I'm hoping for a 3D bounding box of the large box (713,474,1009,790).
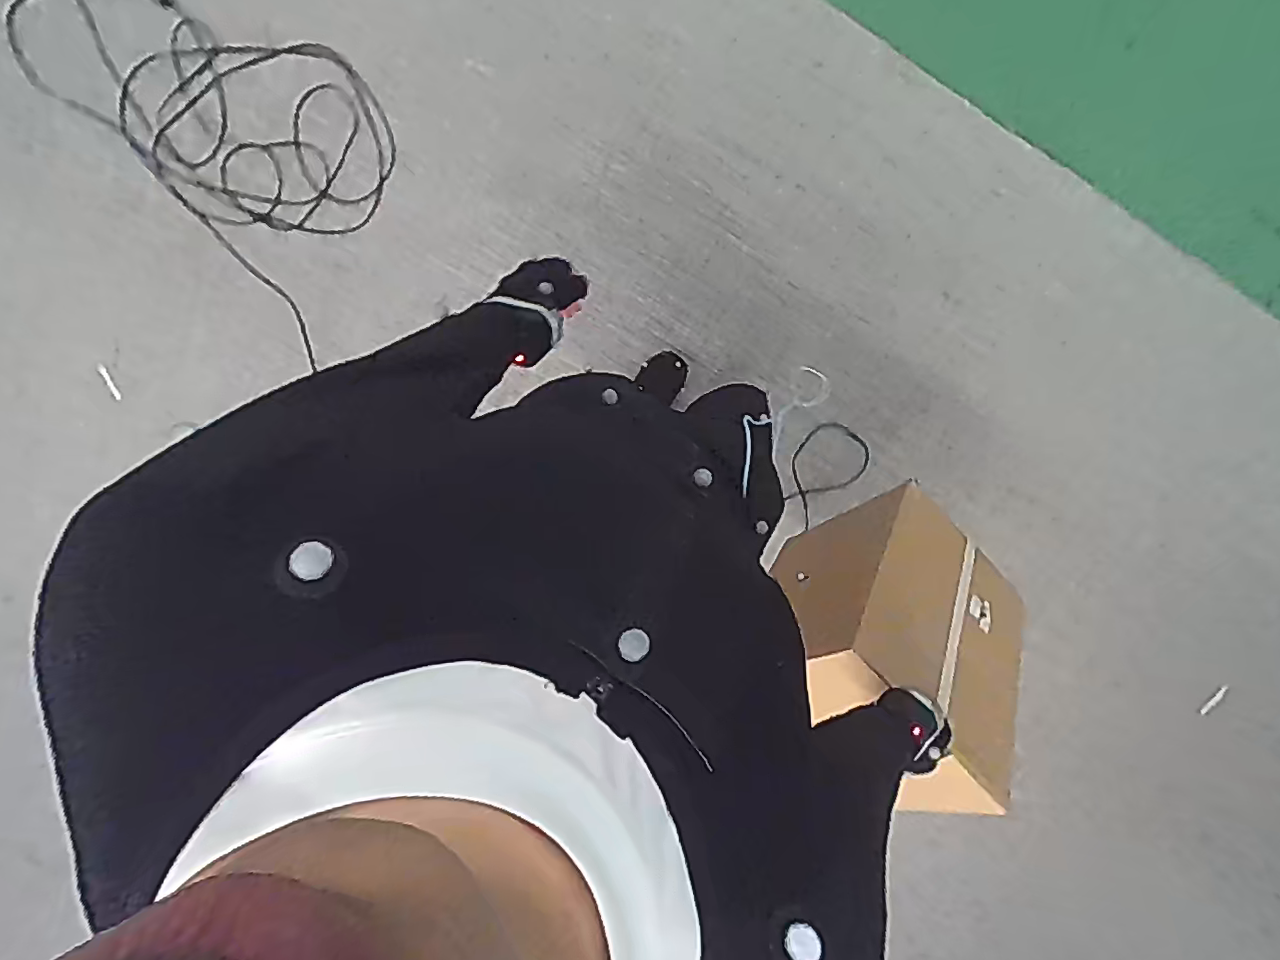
[{"bbox_3d":[0.396,0.270,0.961,0.320,0.408,0.320,47,138,-4],"label":"large box"}]
